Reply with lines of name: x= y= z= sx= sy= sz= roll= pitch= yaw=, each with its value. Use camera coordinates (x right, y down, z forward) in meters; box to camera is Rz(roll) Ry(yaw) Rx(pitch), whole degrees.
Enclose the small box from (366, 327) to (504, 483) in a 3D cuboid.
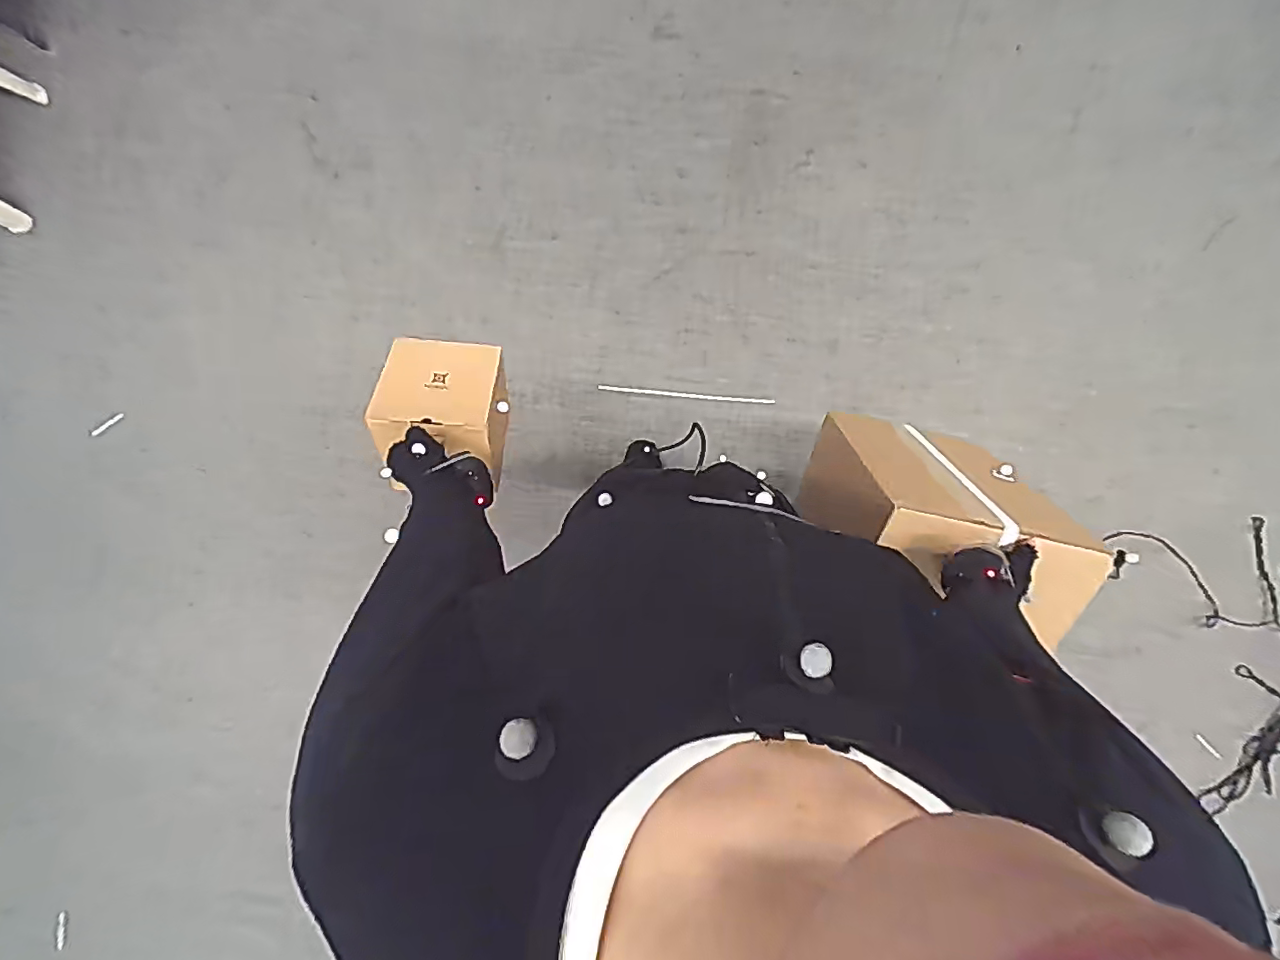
small box: x=-0.314 y=-0.117 z=0.870 sx=0.168 sy=0.176 sz=0.179 roll=4 pitch=56 yaw=-7
